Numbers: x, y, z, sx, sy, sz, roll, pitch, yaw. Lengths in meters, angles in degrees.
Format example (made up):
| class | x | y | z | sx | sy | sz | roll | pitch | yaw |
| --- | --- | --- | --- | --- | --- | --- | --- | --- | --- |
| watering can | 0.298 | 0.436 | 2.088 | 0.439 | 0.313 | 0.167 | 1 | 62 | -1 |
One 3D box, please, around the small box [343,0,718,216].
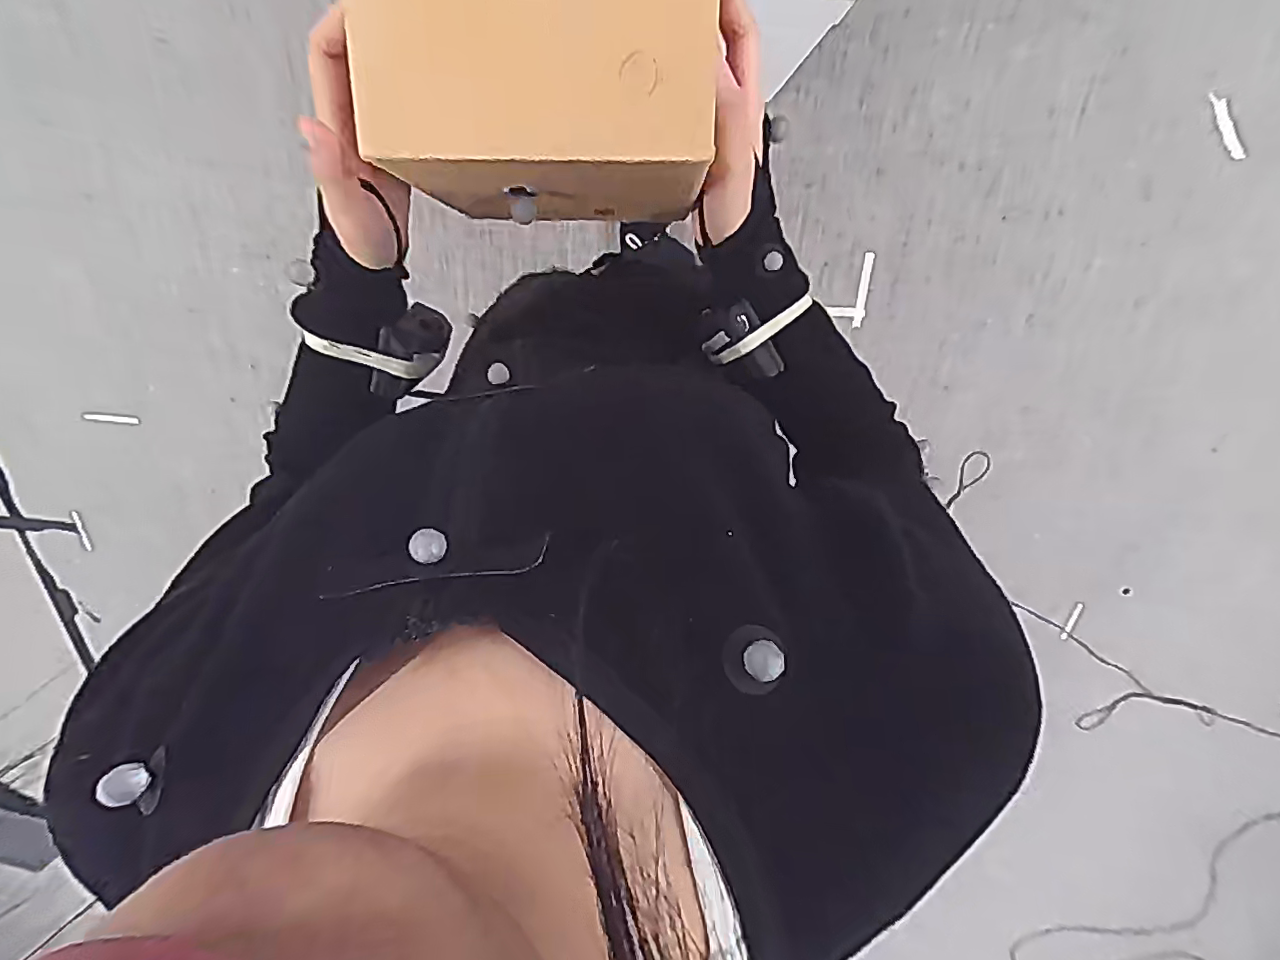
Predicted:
| class | x | y | z | sx | sy | sz | roll | pitch | yaw |
| --- | --- | --- | --- | --- | --- | --- | --- | --- | --- |
| small box | -0.045 | -0.255 | 0.302 | 0.168 | 0.176 | 0.179 | 1 | 106 | 0 |
